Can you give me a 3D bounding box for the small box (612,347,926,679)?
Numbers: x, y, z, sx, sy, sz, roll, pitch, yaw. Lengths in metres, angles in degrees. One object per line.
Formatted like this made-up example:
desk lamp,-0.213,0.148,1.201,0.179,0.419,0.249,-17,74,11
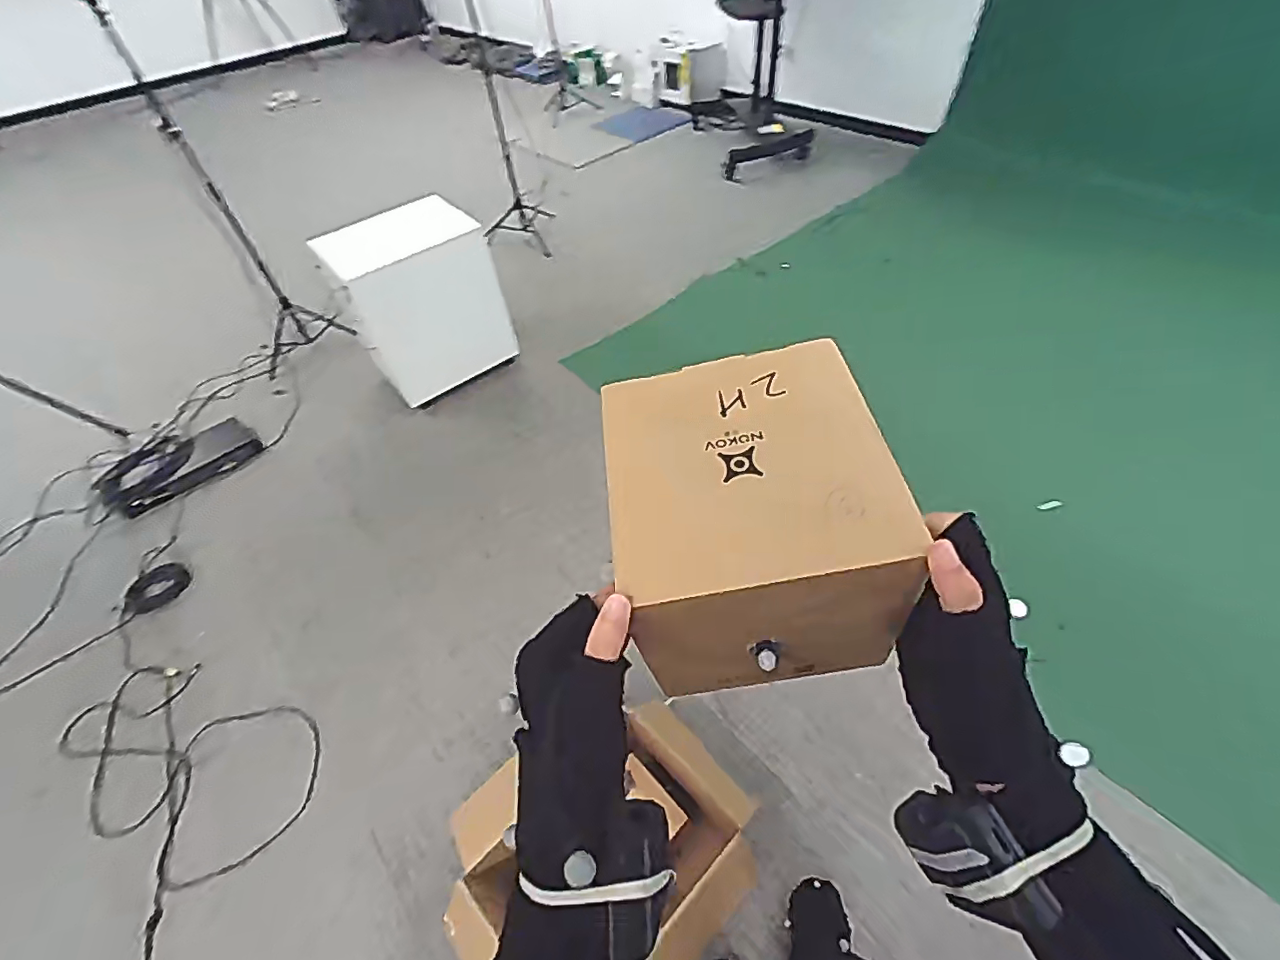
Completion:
small box,0.079,0.035,0.400,0.168,0.176,0.179,-10,52,5
